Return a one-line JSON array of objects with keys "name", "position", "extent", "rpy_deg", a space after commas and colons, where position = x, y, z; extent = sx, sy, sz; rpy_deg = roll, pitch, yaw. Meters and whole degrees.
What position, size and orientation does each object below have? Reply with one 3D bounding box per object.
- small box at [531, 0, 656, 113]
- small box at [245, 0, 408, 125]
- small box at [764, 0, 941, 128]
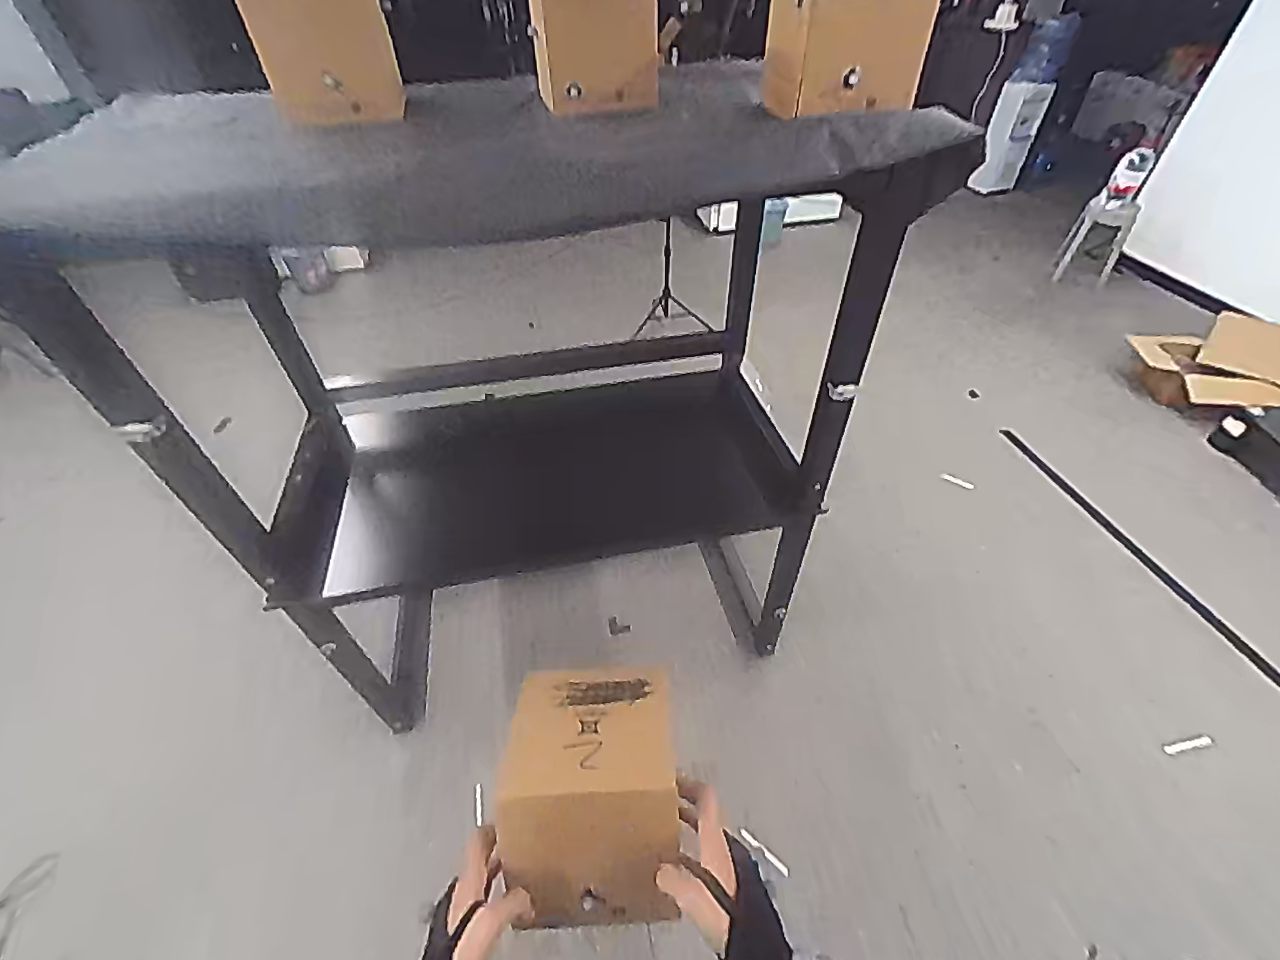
[{"name": "small box", "position": [-0.072, -0.687, 0.844], "extent": [0.168, 0.176, 0.179], "rpy_deg": [-11, 45, -10]}, {"name": "small box", "position": [-0.462, -0.653, 0.817], "extent": [0.168, 0.176, 0.179], "rpy_deg": [-12, 47, -10]}, {"name": "small box", "position": [0.283, -0.610, 0.758], "extent": [0.168, 0.176, 0.179], "rpy_deg": [-6, 45, -4]}]
